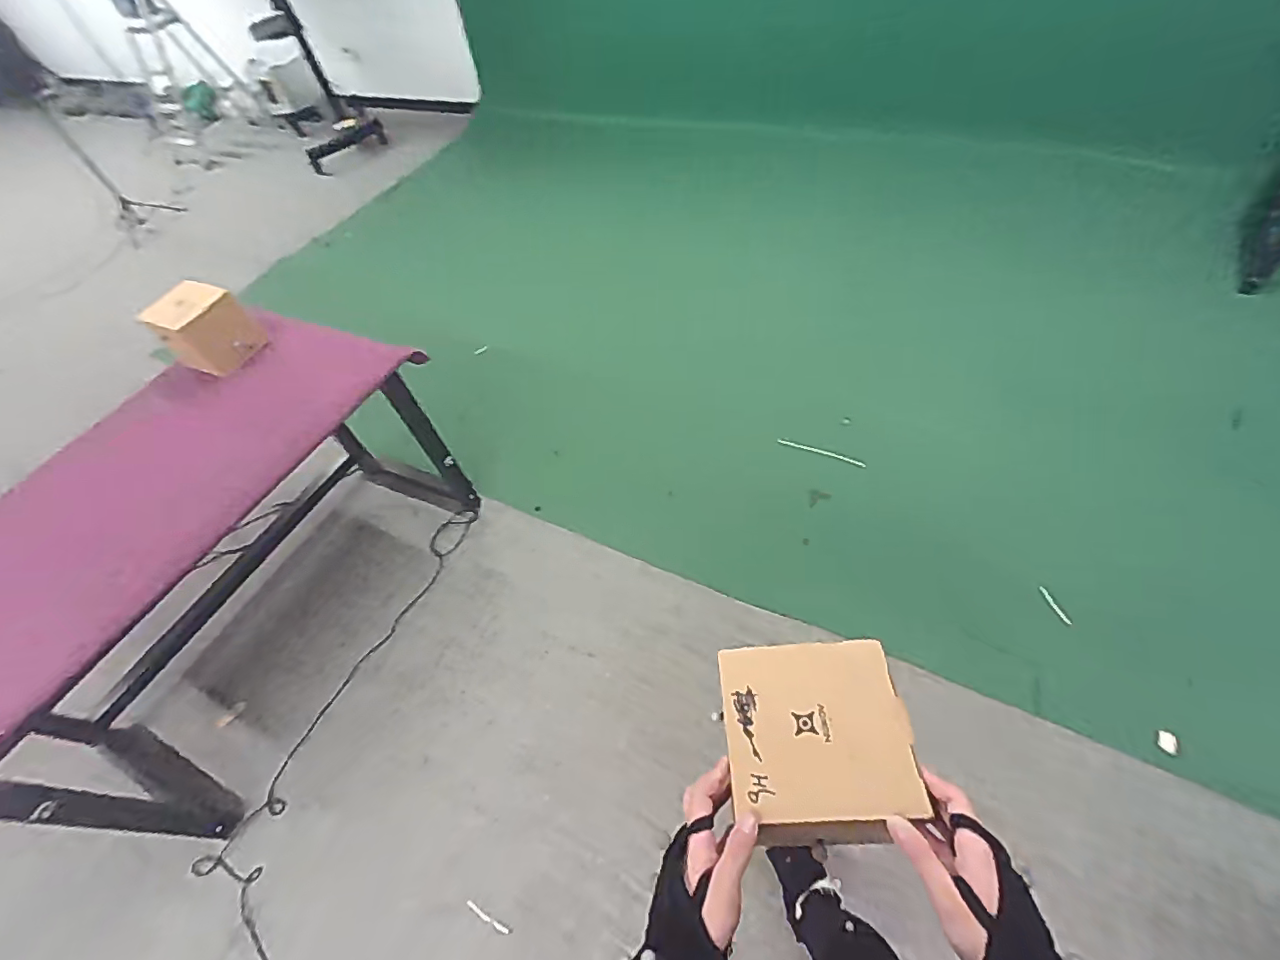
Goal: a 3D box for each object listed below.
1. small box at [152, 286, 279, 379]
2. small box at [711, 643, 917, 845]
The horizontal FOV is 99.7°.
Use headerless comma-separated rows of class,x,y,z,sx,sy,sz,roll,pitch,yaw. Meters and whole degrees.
small box,-1.153,-0.400,1.481,0.179,0.176,0.168,18,62,20
small box,0.173,0.296,0.601,0.179,0.176,0.168,-5,49,6
